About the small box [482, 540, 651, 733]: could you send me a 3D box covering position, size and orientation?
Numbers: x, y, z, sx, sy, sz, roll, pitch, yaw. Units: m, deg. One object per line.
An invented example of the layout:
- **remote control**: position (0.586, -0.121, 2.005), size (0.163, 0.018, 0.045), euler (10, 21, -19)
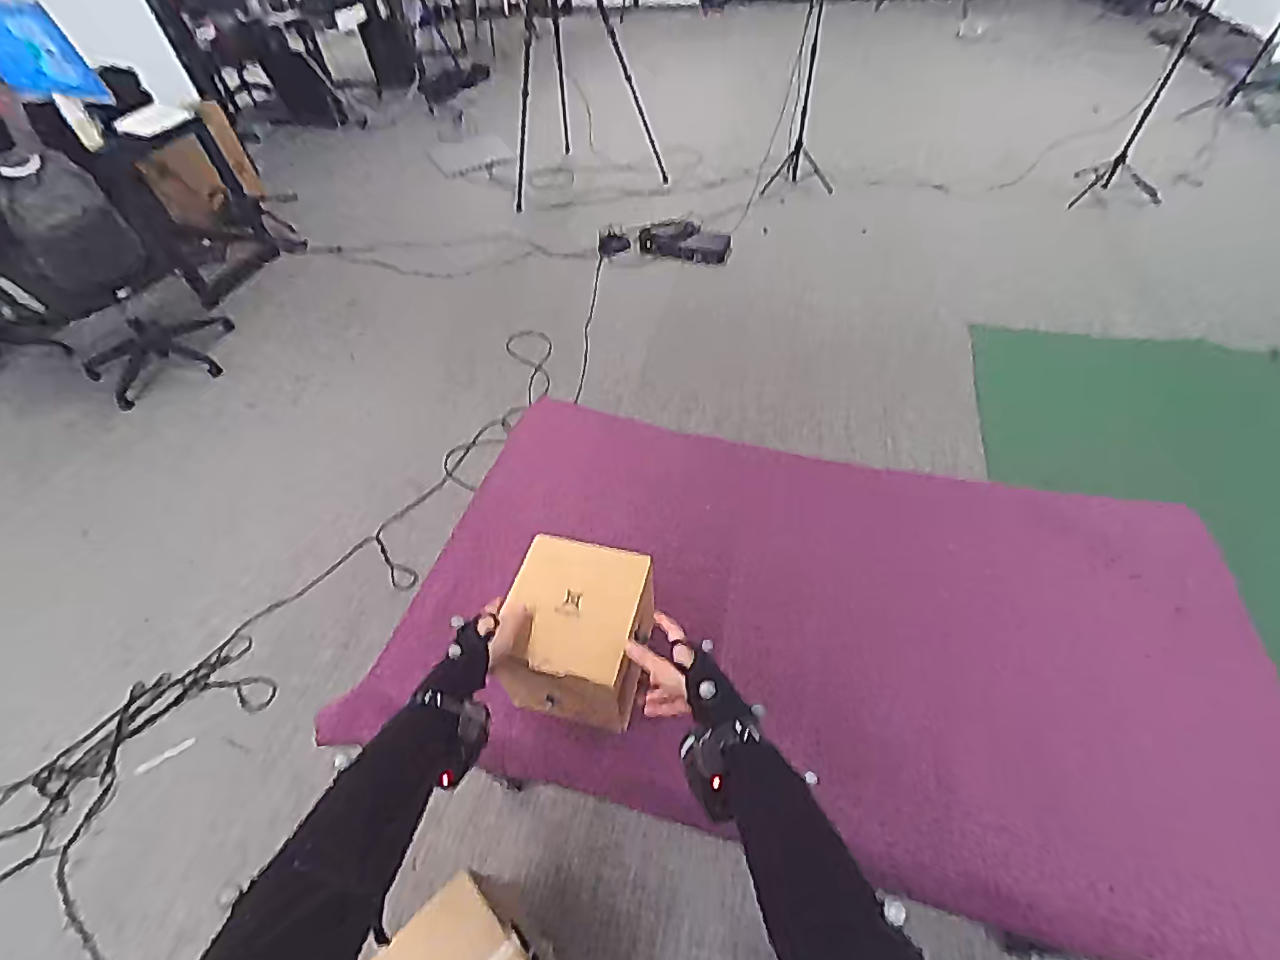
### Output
- **small box**: position (-0.084, 0.210, 0.726), size (0.168, 0.176, 0.179), euler (9, 50, 11)
